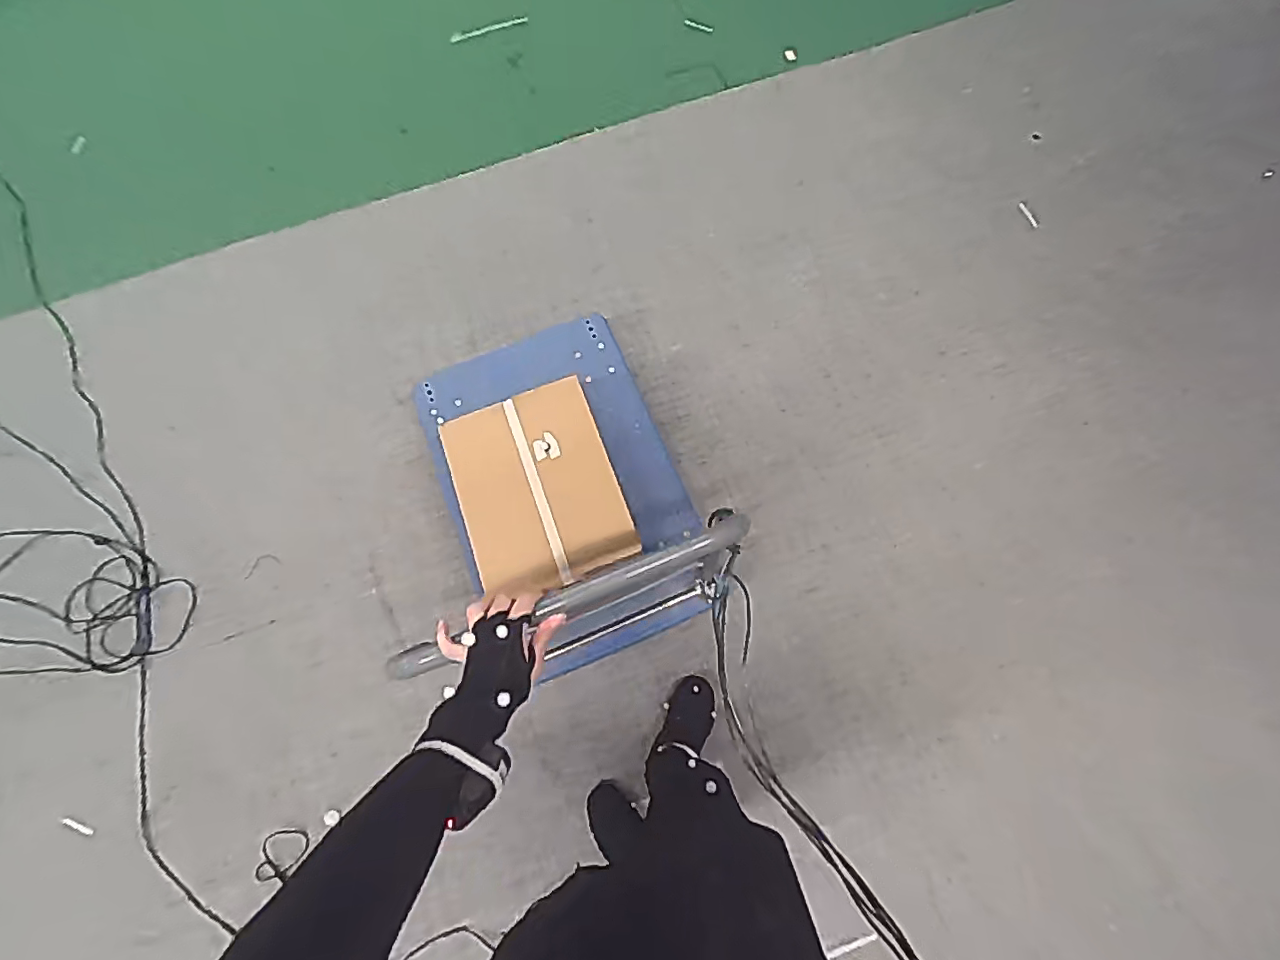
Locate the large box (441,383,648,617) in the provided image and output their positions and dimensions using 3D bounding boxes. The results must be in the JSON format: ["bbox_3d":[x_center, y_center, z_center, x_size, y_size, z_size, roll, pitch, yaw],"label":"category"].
[{"bbox_3d":[-0.198,0.062,1.231,0.320,0.320,0.408,-20,73,-3],"label":"large box"}]
